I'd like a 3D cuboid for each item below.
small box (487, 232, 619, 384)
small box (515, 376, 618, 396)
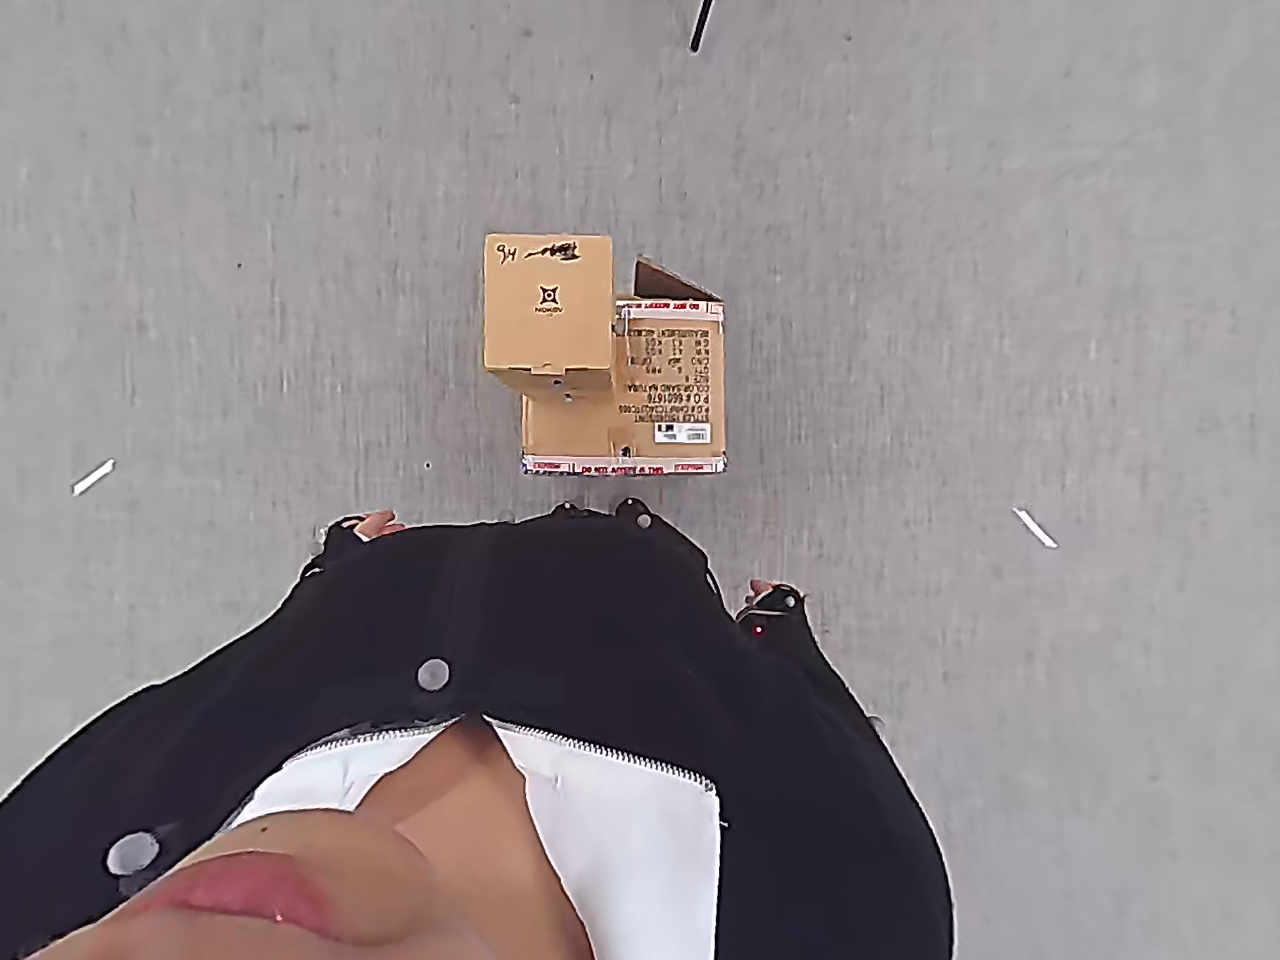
[{"bbox_3d":[-0.115,-0.234,0.776,0.168,0.176,0.179,0,92,-1],"label":"small box"},{"bbox_3d":[-0.123,-0.246,0.940,0.168,0.176,0.179,-1,91,0],"label":"small box"}]
